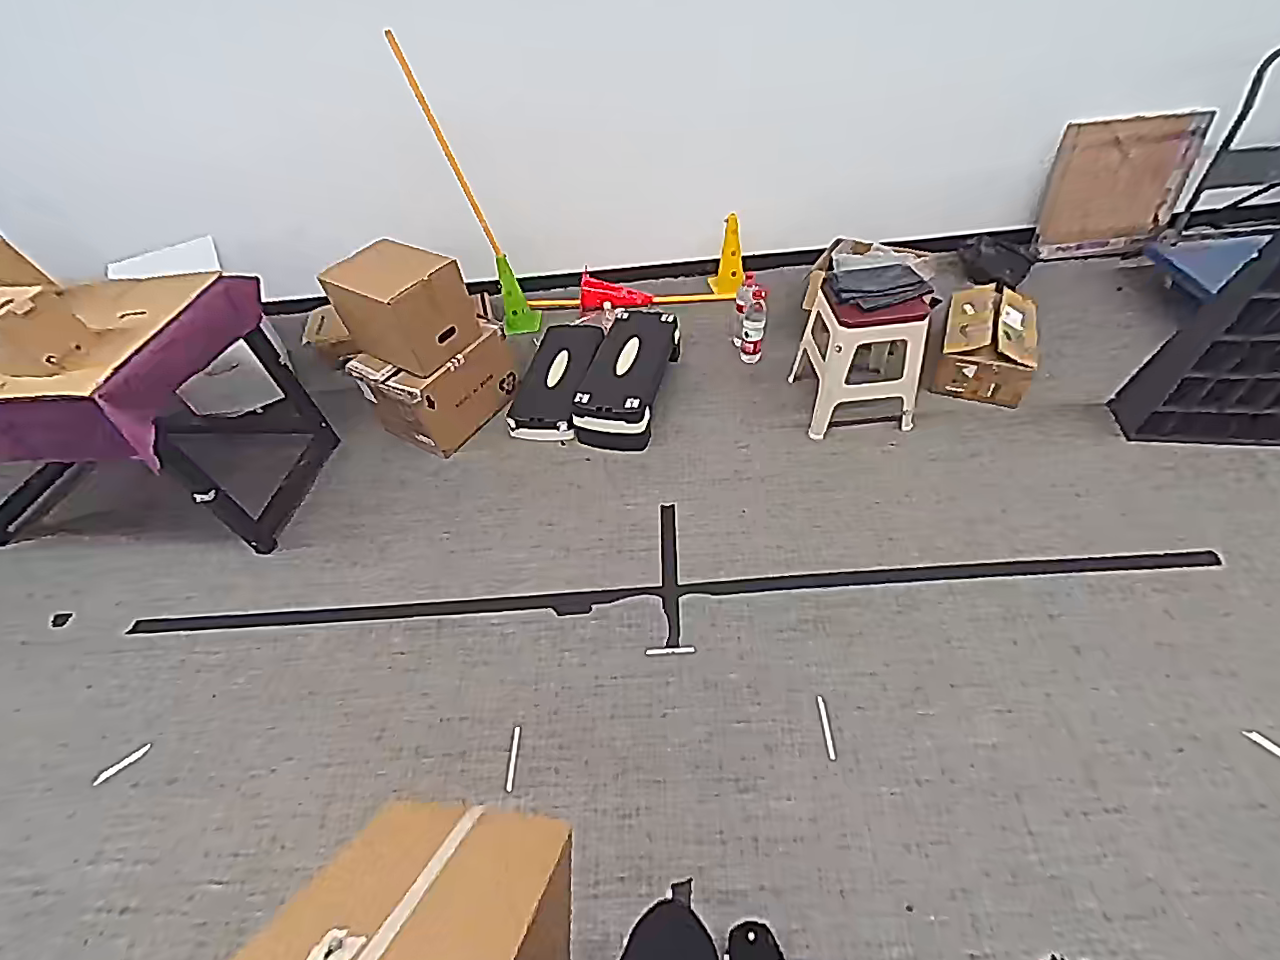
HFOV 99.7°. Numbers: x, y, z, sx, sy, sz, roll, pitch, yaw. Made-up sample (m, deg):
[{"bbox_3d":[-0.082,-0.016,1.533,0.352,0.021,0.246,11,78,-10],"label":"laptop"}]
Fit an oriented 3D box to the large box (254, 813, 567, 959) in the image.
[{"bbox_3d":[-0.297,0.715,0.687,0.320,0.408,0.320,0,92,10],"label":"large box"}]
